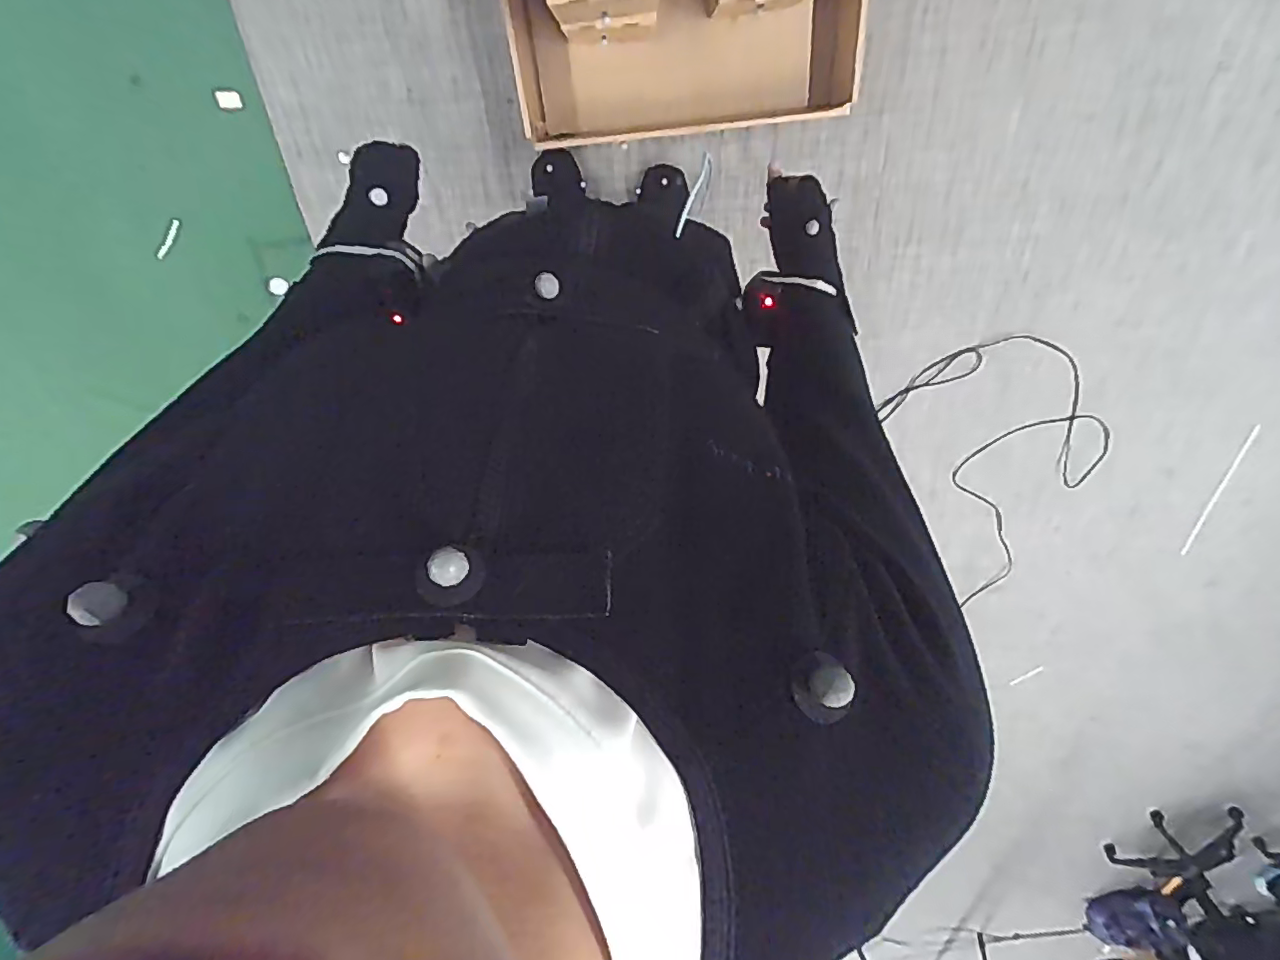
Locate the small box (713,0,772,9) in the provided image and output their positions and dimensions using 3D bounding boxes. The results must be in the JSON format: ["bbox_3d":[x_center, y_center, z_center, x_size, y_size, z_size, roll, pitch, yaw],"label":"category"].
[{"bbox_3d":[0.201,-0.916,0.900,0.168,0.176,0.179,-6,123,7],"label":"small box"}]

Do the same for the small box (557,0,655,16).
[{"bbox_3d":[-0.058,-0.803,0.777,0.168,0.176,0.179,-5,123,3],"label":"small box"}]
